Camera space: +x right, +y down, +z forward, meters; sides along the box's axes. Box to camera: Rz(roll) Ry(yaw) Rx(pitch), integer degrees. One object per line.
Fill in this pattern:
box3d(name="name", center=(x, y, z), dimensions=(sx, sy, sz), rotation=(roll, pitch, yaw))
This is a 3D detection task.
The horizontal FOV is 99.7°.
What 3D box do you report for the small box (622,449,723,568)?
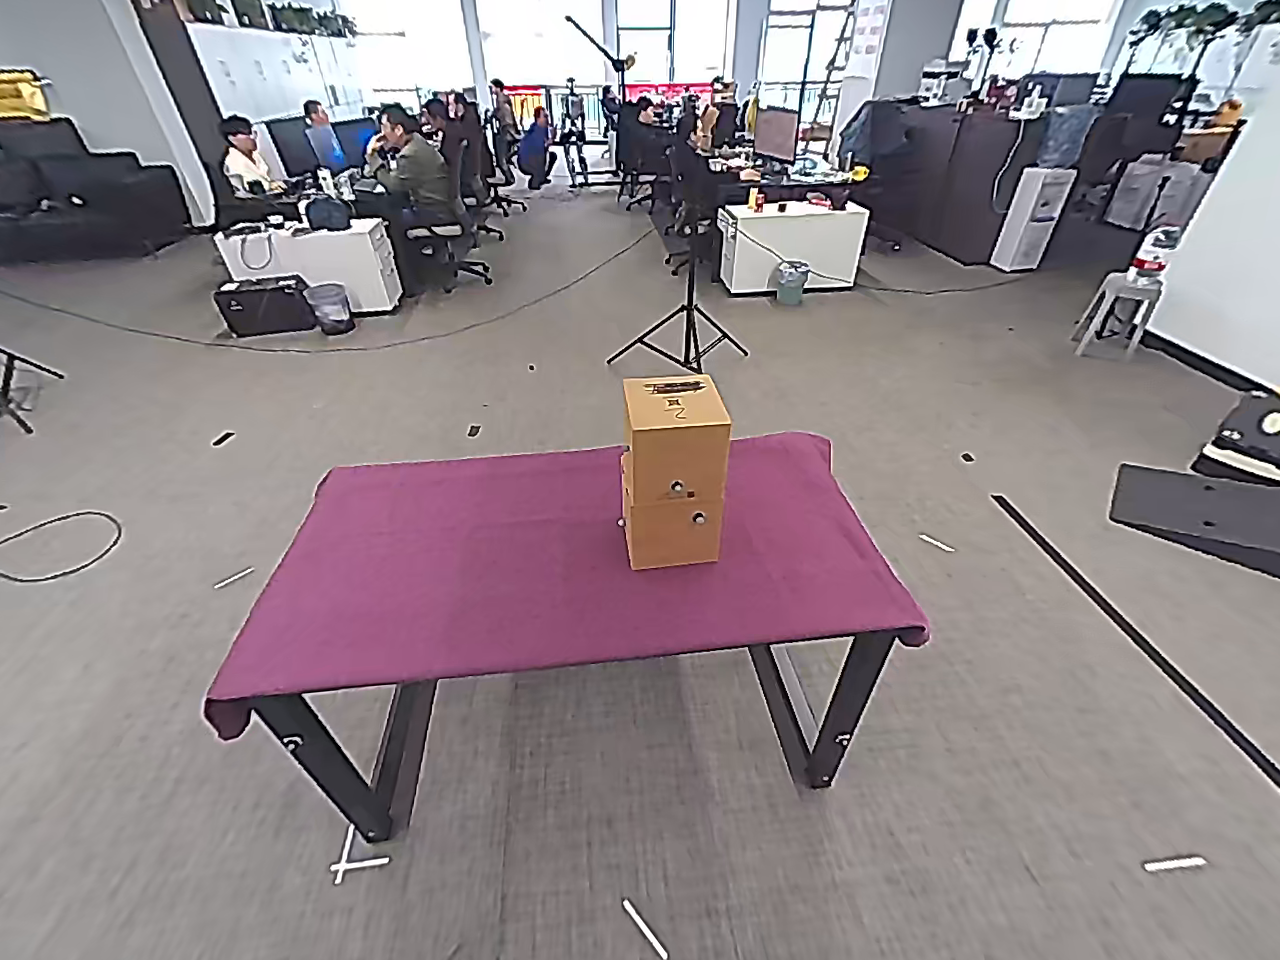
box3d(name="small box", center=(0.059, 0.057, 1.091), dimensions=(0.179, 0.176, 0.168), rotation=(-6, 37, -5))
